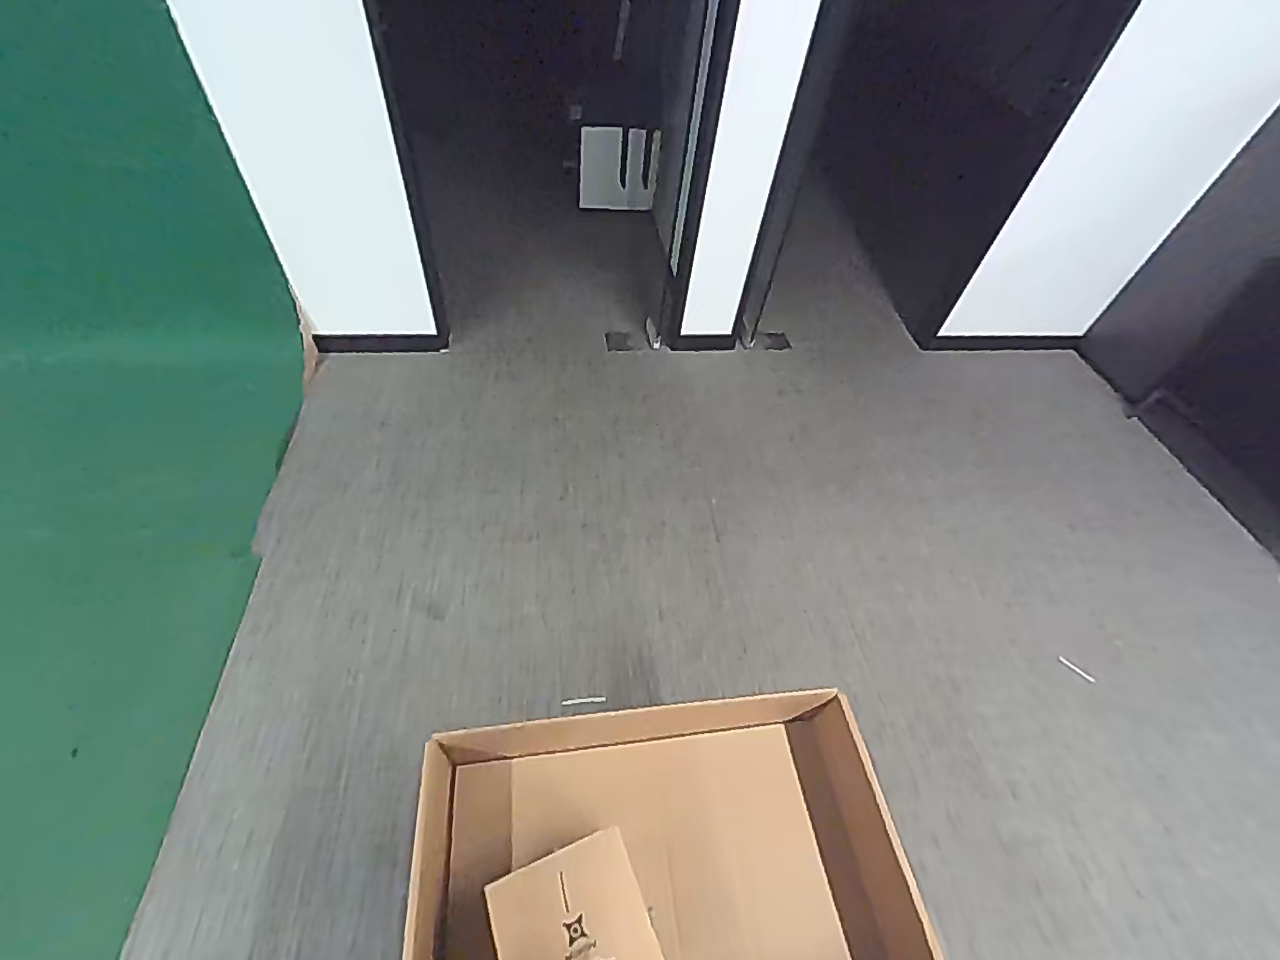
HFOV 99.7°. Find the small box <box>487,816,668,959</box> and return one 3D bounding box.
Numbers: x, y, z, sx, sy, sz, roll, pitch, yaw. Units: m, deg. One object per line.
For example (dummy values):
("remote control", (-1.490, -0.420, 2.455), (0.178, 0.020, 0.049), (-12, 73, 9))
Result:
("small box", (-0.074, 0.548, 0.657), (0.168, 0.176, 0.179), (-16, 53, -19))
